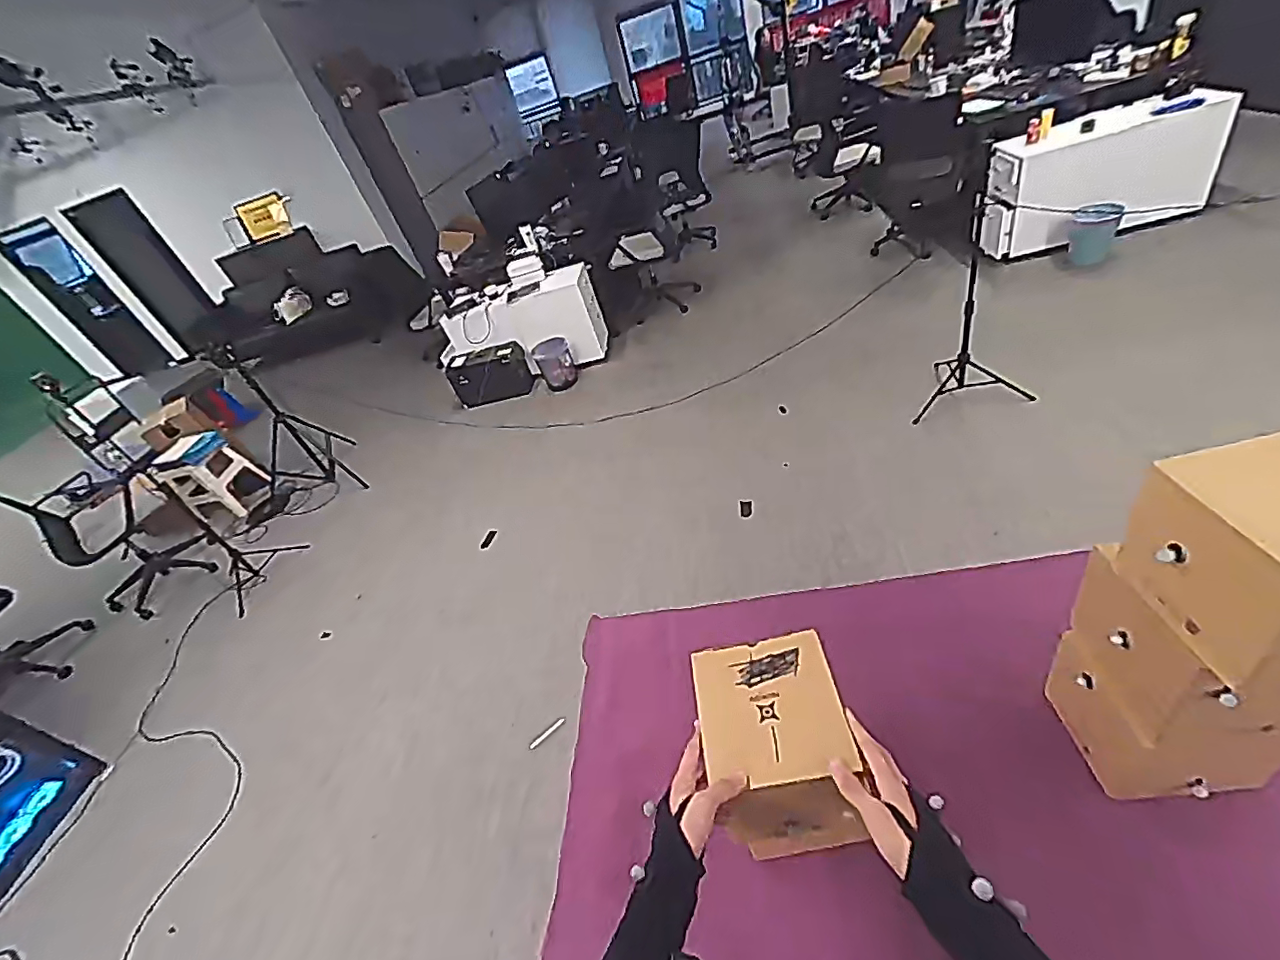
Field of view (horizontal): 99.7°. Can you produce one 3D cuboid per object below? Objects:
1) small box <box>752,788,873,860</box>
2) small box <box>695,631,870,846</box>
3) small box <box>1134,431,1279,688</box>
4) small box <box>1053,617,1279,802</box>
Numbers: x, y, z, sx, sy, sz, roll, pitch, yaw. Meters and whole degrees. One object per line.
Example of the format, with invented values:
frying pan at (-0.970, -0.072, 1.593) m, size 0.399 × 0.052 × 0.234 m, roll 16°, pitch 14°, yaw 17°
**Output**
small box at (0.224, 0.426, 0.790) m, size 0.179 × 0.176 × 0.168 m, roll -15°, pitch 38°, yaw 6°
small box at (0.173, 0.321, 0.672) m, size 0.168 × 0.176 × 0.179 m, roll -15°, pitch 39°, yaw 8°
small box at (0.618, 0.070, 0.505) m, size 0.179 × 0.176 × 0.168 m, roll -14°, pitch 37°, yaw 8°
small box at (0.700, 0.305, 0.720) m, size 0.179 × 0.176 × 0.168 m, roll -12°, pitch 38°, yaw 10°
